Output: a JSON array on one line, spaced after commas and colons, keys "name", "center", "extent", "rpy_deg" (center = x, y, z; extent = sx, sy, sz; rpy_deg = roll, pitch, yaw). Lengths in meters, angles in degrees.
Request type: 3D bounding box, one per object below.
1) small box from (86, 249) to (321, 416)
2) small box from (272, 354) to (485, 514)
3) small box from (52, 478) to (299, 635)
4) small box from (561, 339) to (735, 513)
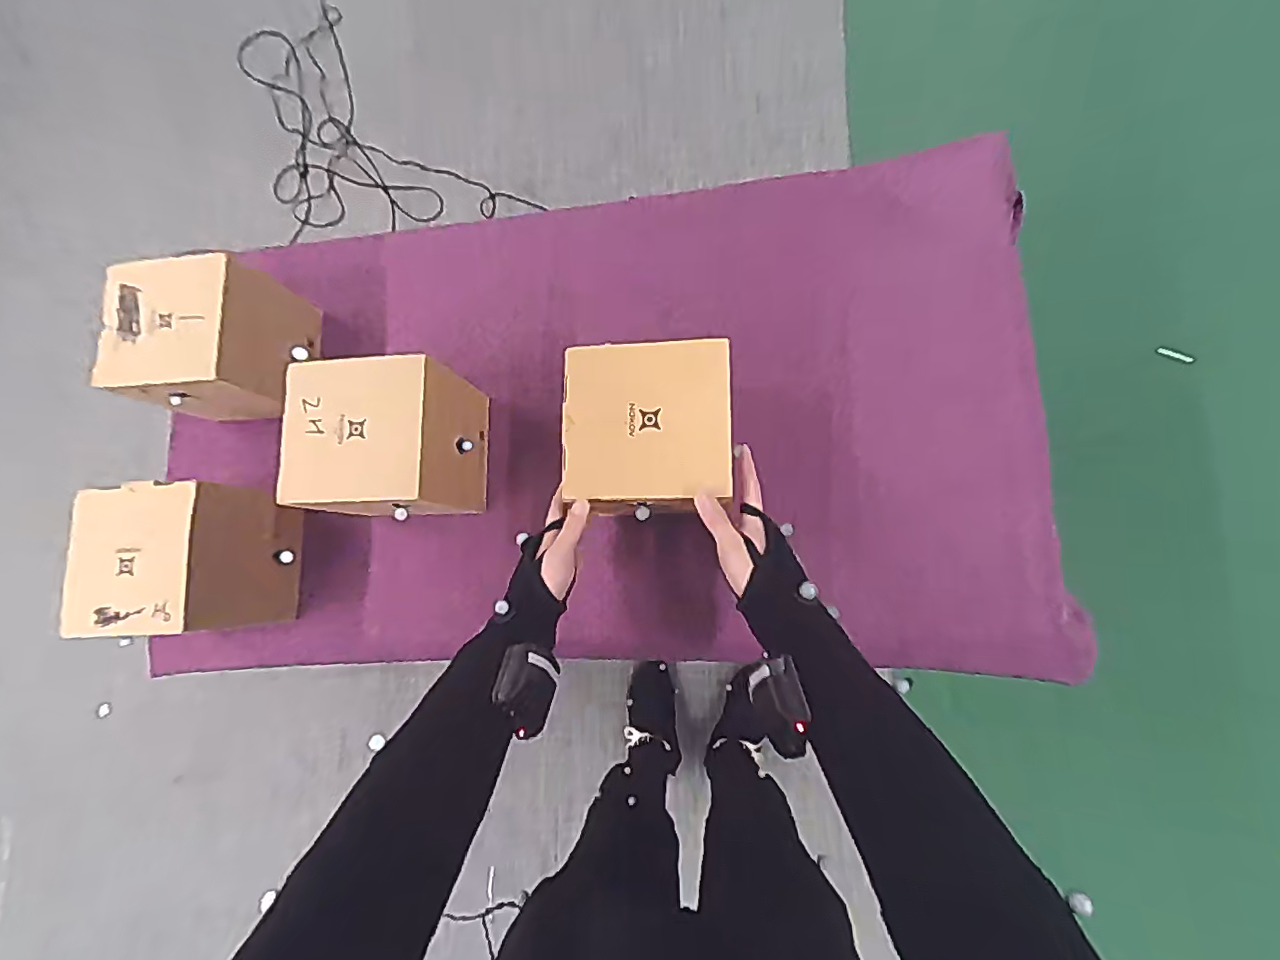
[{"name": "small box", "center": [-0.576, -0.187, 0.735], "extent": [0.179, 0.176, 0.168], "rpy_deg": [-2, 82, 8]}, {"name": "small box", "center": [-0.308, -0.047, 0.672], "extent": [0.179, 0.176, 0.168], "rpy_deg": [-1, 81, 9]}, {"name": "small box", "center": [-0.573, 0.101, 0.692], "extent": [0.168, 0.176, 0.179], "rpy_deg": [-4, 80, 10]}, {"name": "small box", "center": [0.019, -0.051, 0.623], "extent": [0.179, 0.176, 0.168], "rpy_deg": [-1, 82, 10]}]
